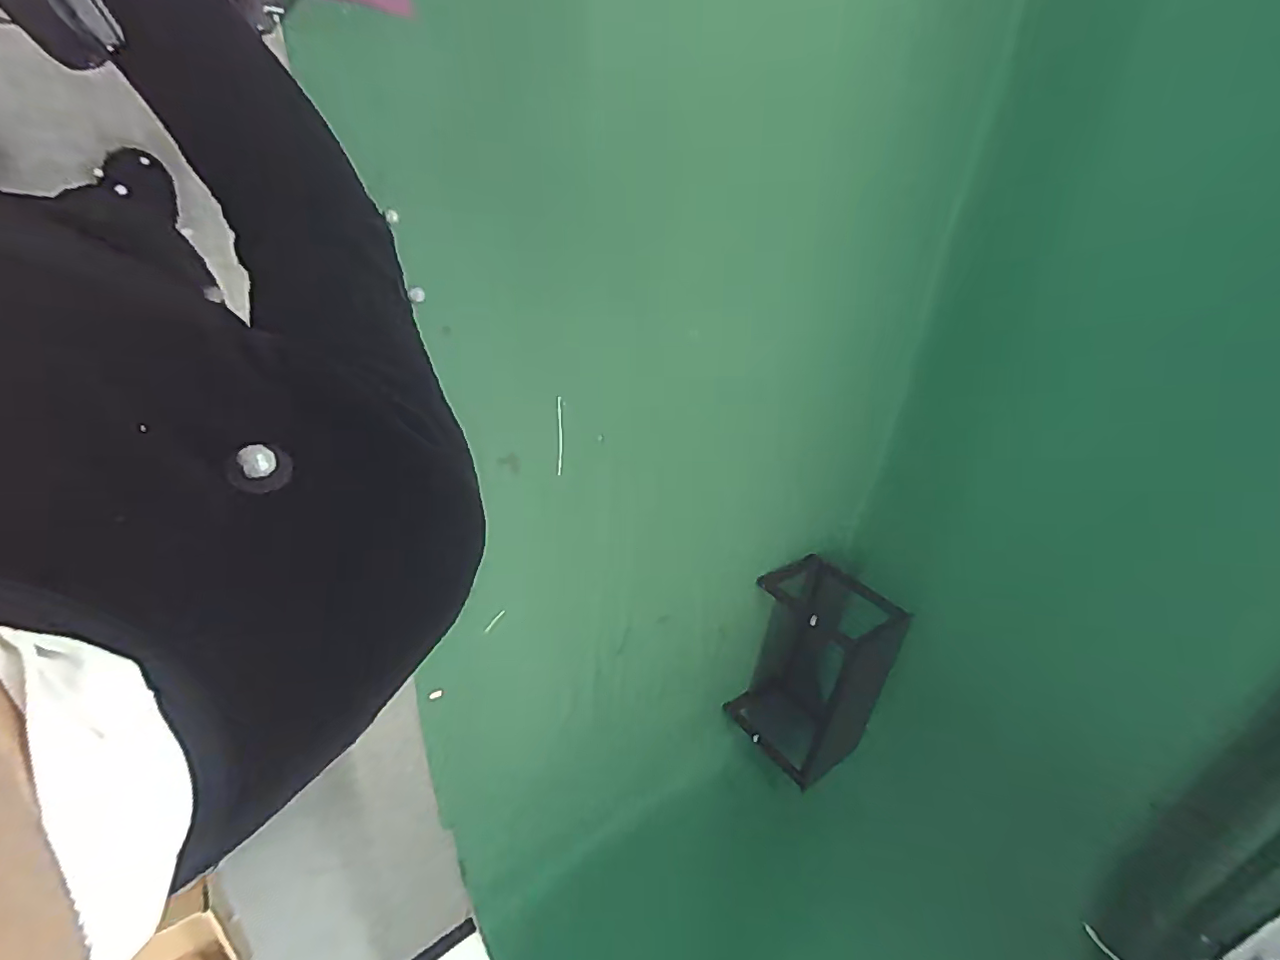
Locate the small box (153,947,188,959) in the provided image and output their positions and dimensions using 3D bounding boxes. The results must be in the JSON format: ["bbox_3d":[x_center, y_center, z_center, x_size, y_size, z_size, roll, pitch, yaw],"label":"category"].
[{"bbox_3d":[-1.298,1.401,1.421,0.179,0.176,0.168,-15,125,-36],"label":"small box"}]
